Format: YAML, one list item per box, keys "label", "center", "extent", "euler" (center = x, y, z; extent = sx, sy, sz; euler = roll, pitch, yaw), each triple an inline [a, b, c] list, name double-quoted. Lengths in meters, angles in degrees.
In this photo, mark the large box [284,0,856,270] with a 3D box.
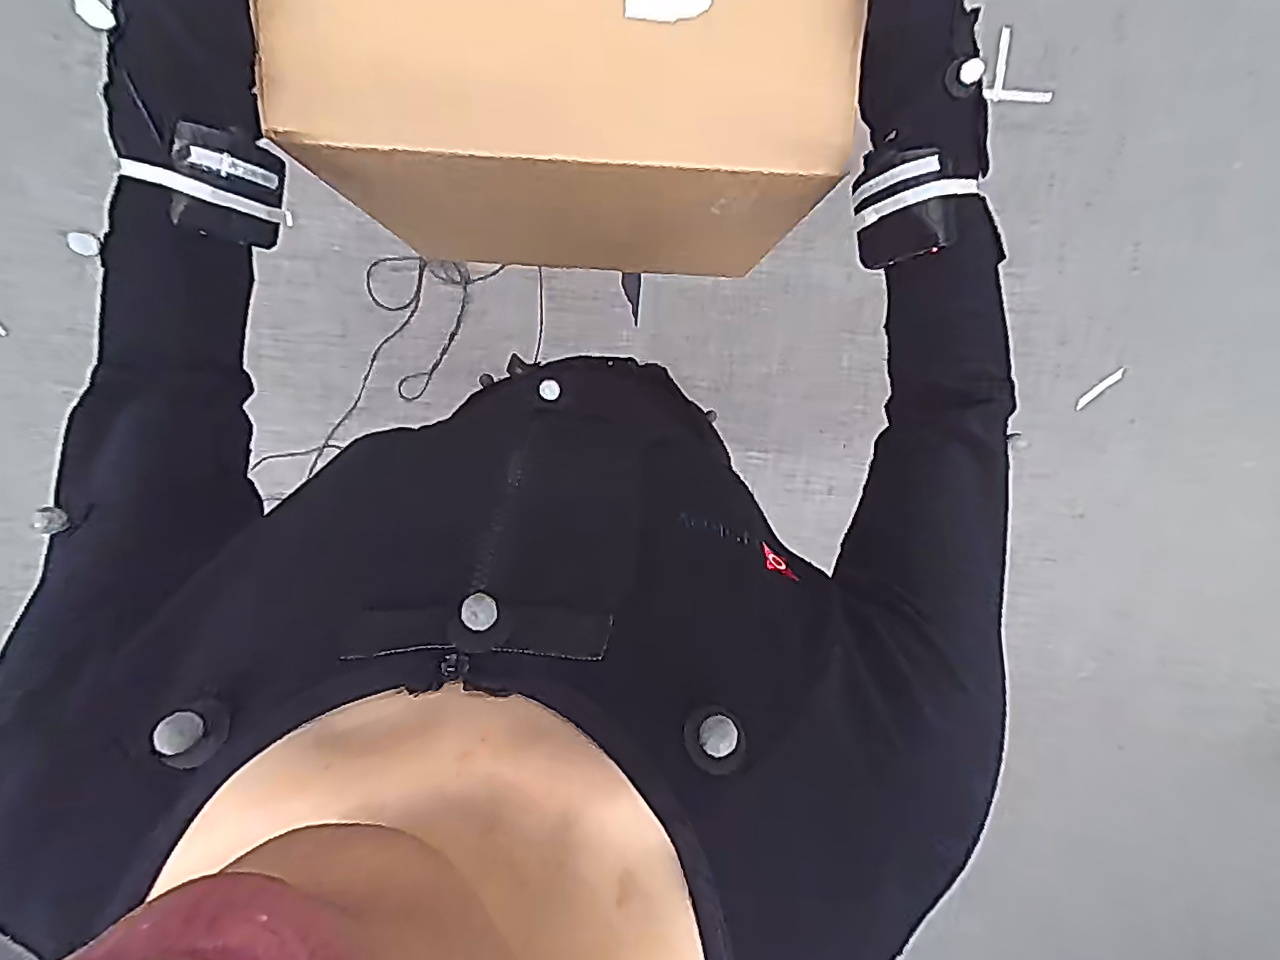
- label: "large box"
  center: [-0.052, -0.403, 0.517]
  extent: [0.408, 0.320, 0.320]
  euler: [2, 98, -4]
